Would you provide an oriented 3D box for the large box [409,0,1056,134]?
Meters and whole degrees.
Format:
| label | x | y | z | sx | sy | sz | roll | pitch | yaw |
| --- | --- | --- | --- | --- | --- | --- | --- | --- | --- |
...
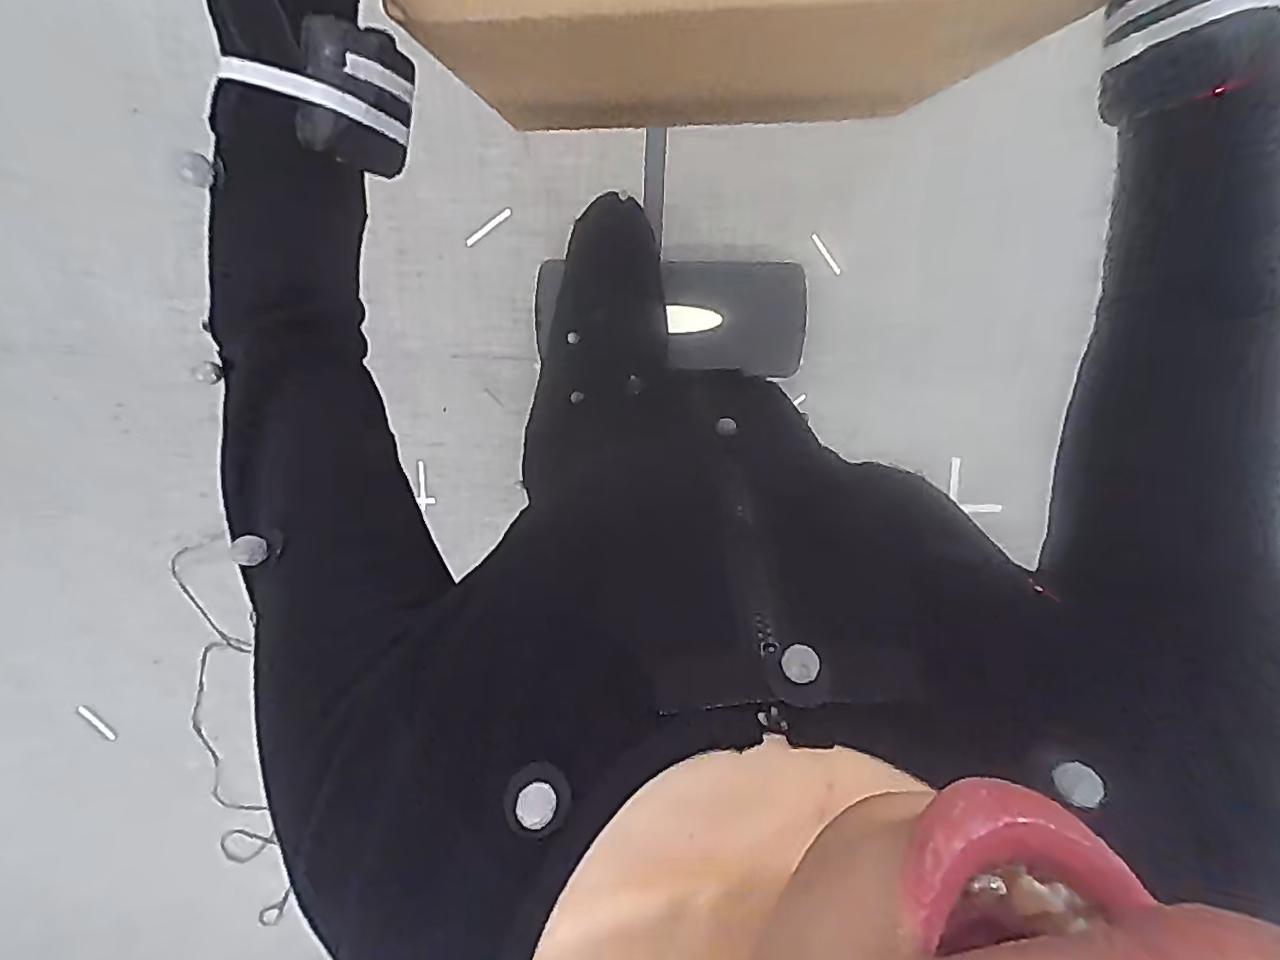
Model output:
| label | x | y | z | sx | sy | sz | roll | pitch | yaw |
| --- | --- | --- | --- | --- | --- | --- | --- | --- | --- |
| large box | 0.058 | -0.466 | 0.382 | 0.408 | 0.320 | 0.320 | -2 | 113 | 1 |
